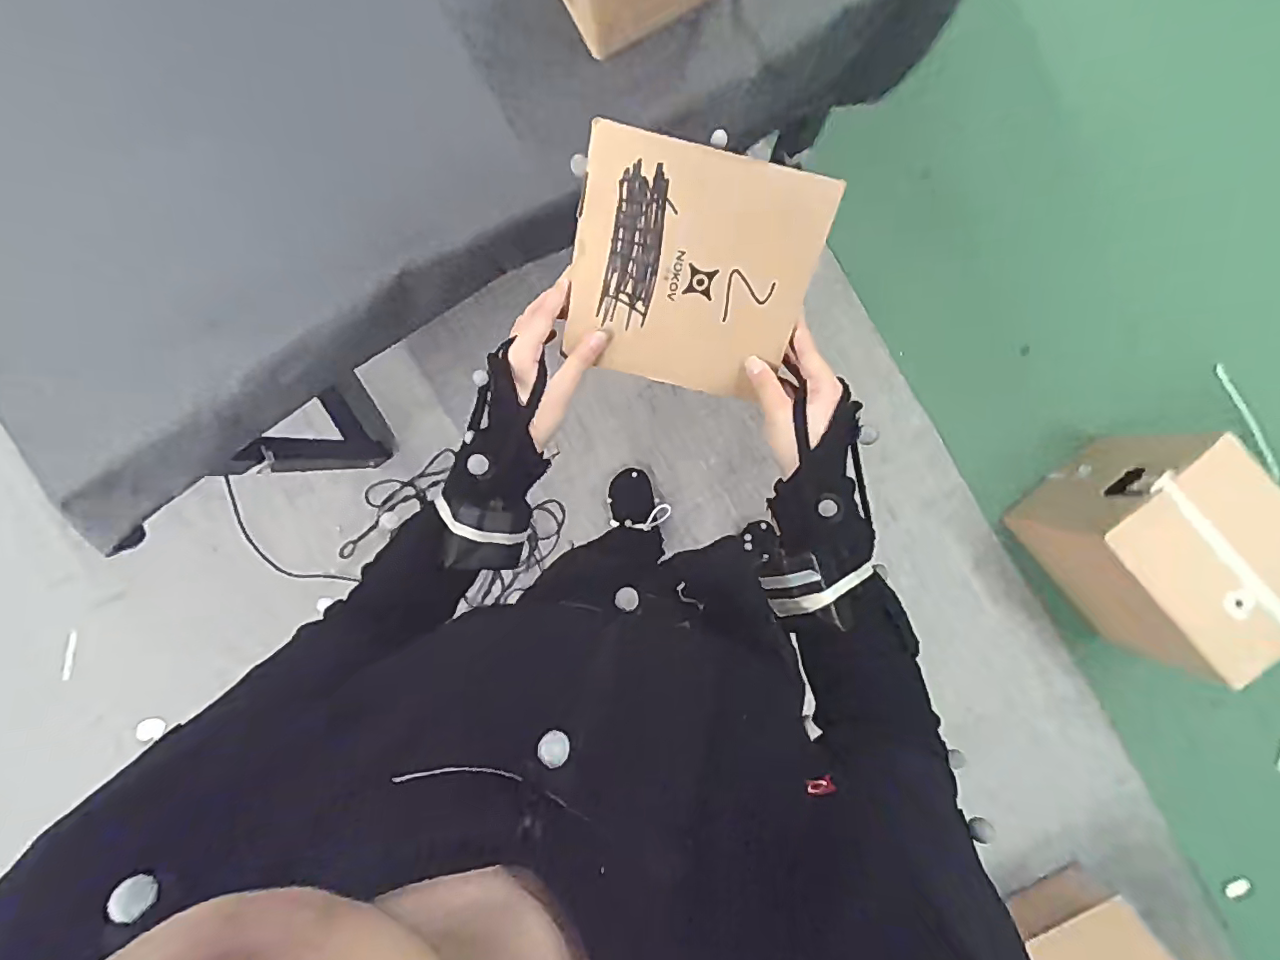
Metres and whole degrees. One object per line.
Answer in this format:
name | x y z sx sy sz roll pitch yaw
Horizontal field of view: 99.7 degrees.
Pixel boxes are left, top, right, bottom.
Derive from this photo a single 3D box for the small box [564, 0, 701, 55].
small box | -0.019 -0.576 0.523 0.179 0.176 0.168 -29 91 2
